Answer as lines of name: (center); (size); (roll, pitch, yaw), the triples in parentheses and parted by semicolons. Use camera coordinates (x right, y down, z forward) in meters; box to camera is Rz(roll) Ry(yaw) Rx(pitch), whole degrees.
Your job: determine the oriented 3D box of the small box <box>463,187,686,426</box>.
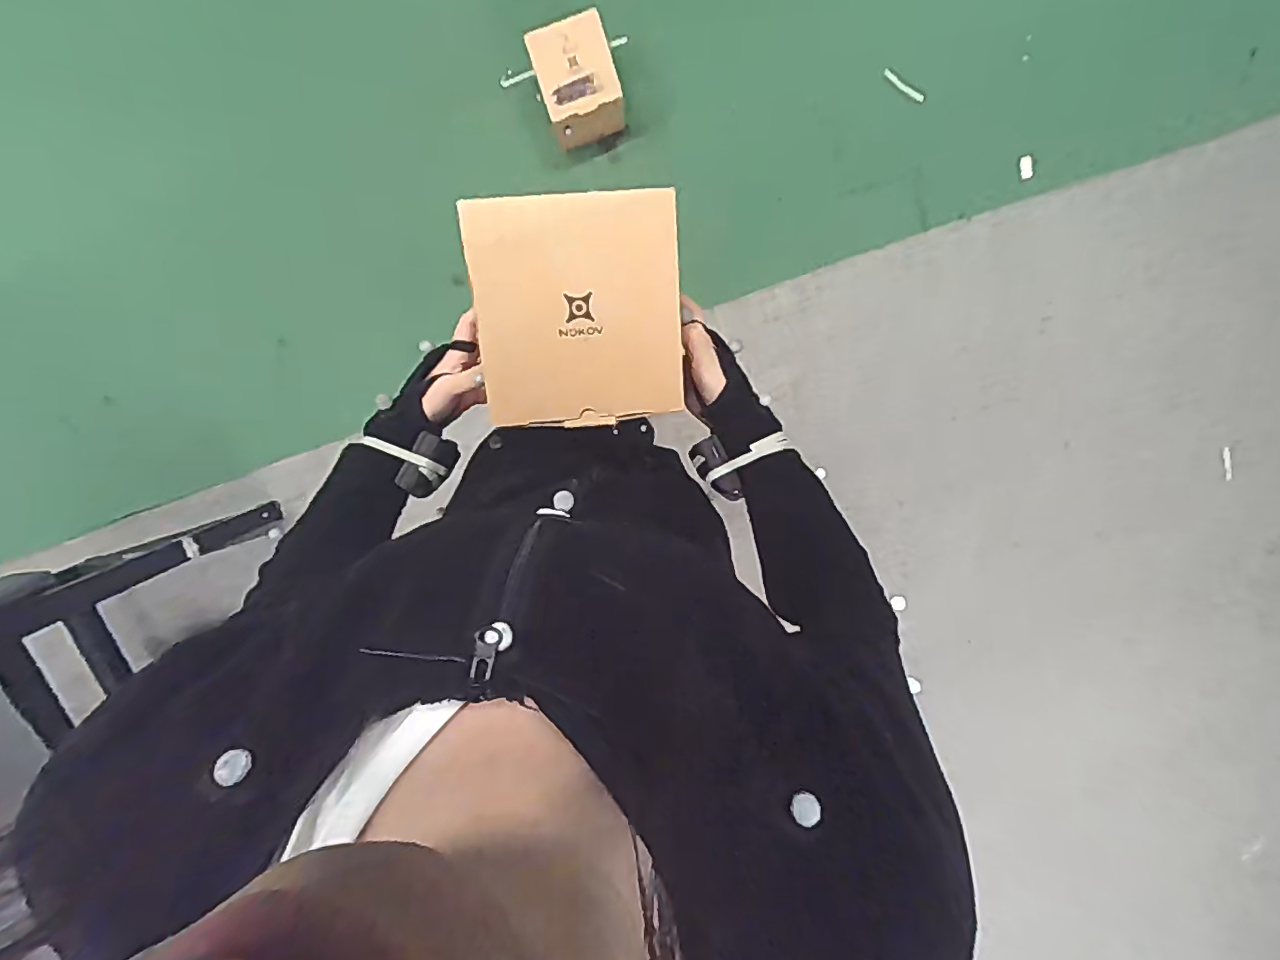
small box: (-0.054, -0.159, 0.515); (0.168, 0.176, 0.179); (-7, 108, -2)
